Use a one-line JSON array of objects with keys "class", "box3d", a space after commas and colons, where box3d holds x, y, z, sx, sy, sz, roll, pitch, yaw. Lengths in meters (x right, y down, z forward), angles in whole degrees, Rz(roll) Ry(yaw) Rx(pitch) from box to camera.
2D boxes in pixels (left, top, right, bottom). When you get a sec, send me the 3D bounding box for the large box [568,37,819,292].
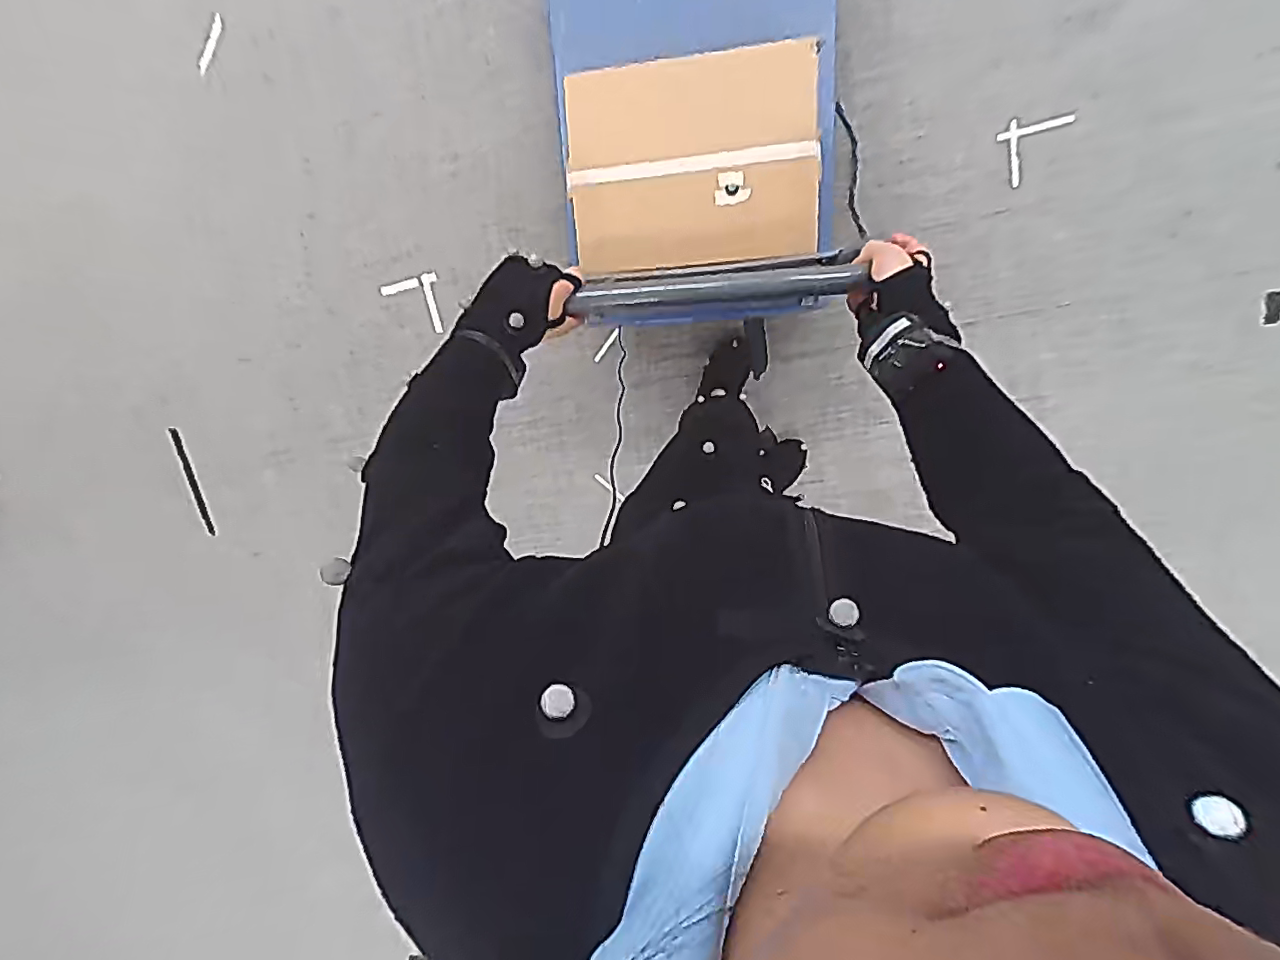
[{"class": "large box", "box3d": [0.108, -0.555, 1.035, 0.408, 0.320, 0.320, -2, 104, 9]}]
